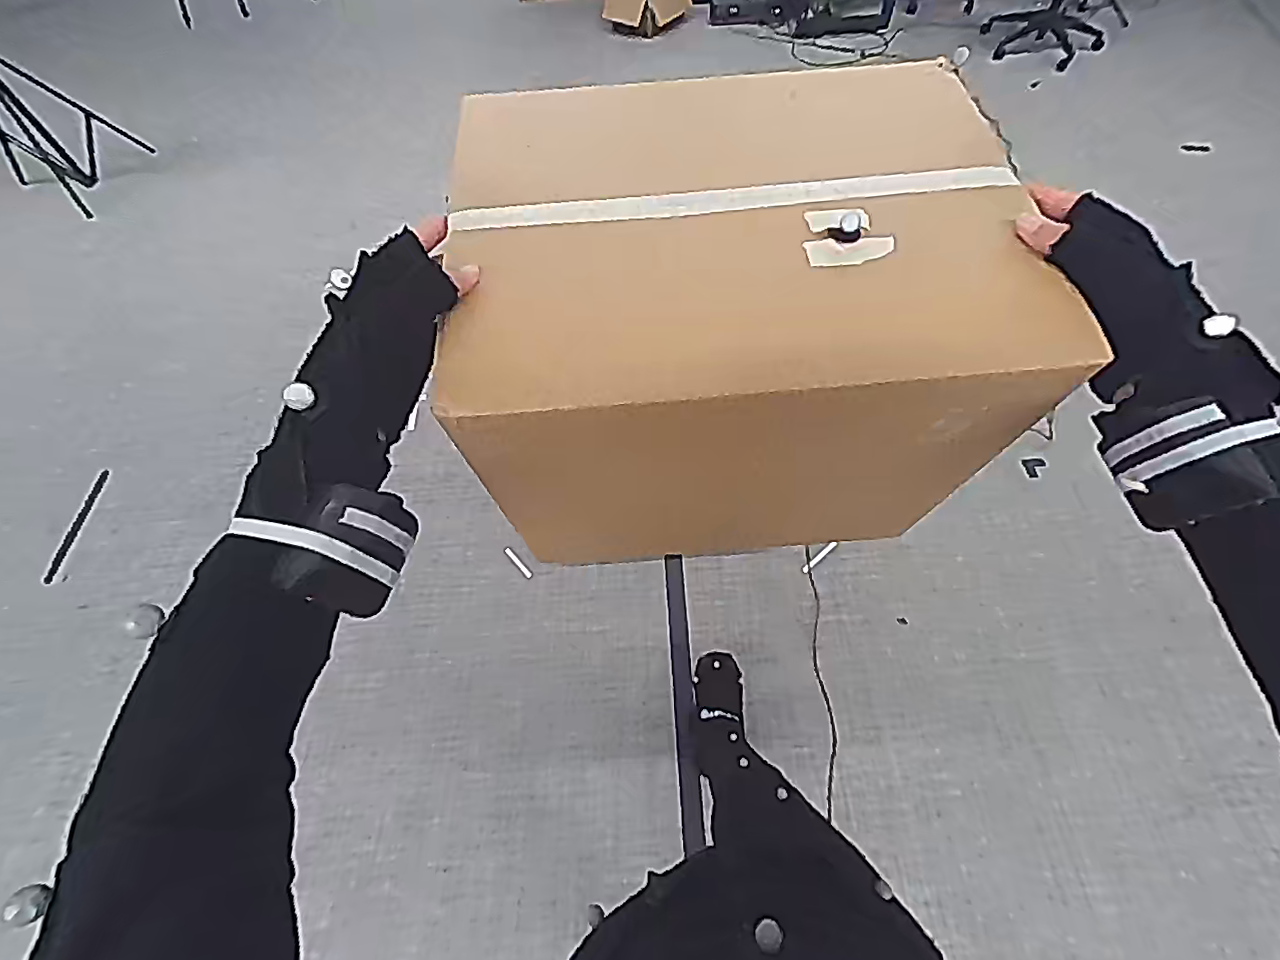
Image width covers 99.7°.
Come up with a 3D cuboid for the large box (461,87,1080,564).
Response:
[{"bbox_3d":[0.072,-0.124,0.535,0.408,0.320,0.320,-5,65,-1],"label":"large box"}]
